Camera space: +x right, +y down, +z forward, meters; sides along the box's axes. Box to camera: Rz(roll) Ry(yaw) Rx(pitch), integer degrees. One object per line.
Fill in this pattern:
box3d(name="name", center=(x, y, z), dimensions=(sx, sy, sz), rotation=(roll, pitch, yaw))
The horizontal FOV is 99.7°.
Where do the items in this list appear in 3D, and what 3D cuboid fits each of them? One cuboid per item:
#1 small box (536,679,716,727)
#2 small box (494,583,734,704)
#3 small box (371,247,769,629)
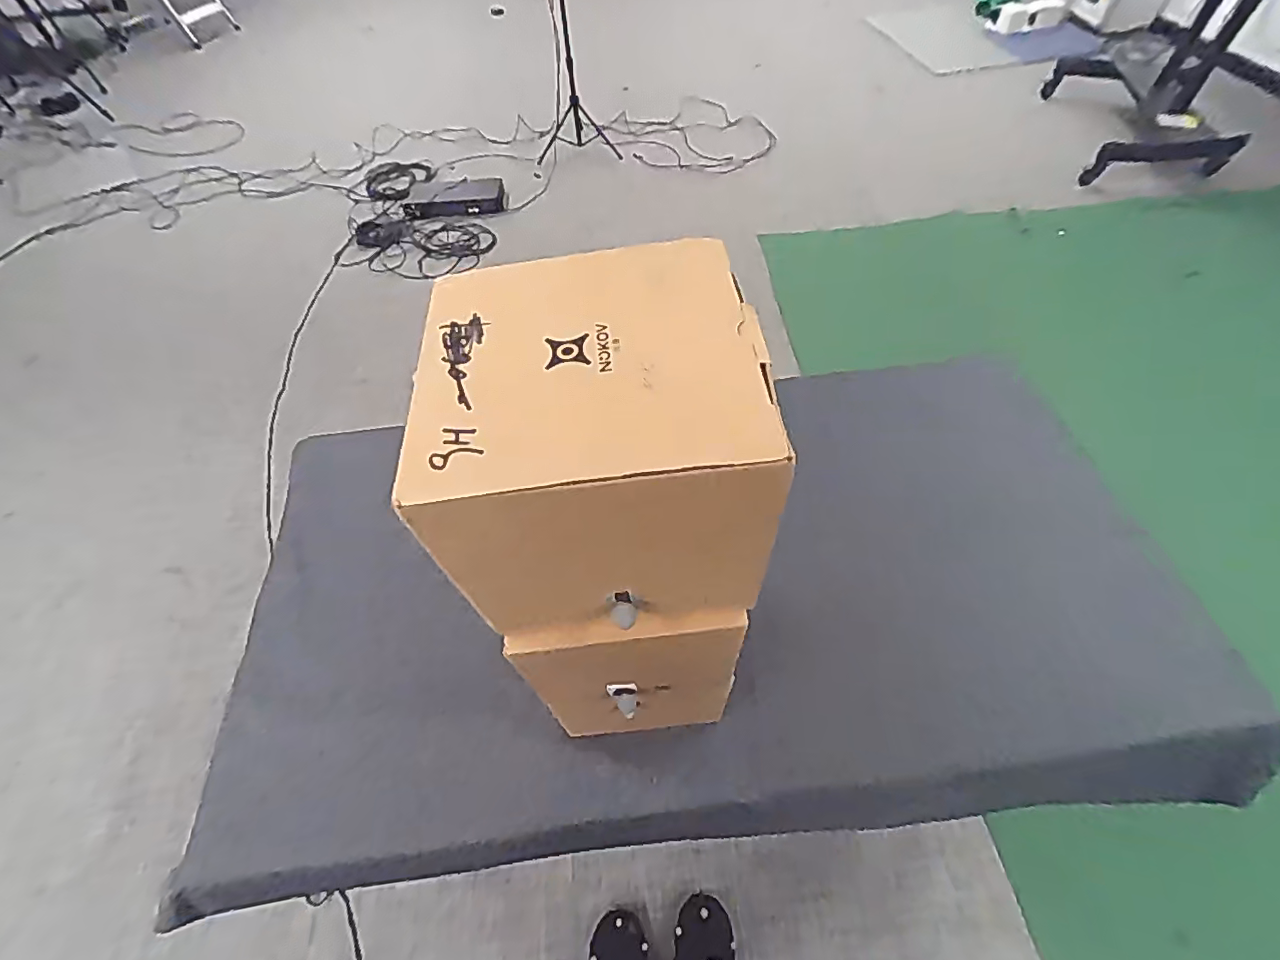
box3d(name="small box", center=(-0.010, 0.169, 0.607), dimensions=(0.179, 0.176, 0.168), rotation=(-6, 56, 0))
box3d(name="small box", center=(-0.020, 0.079, 0.474), dimensions=(0.168, 0.176, 0.179), rotation=(-8, 56, 0))
box3d(name="small box", center=(-0.032, -0.017, 0.342), dimensions=(0.179, 0.176, 0.168), rotation=(-6, 55, 0))
